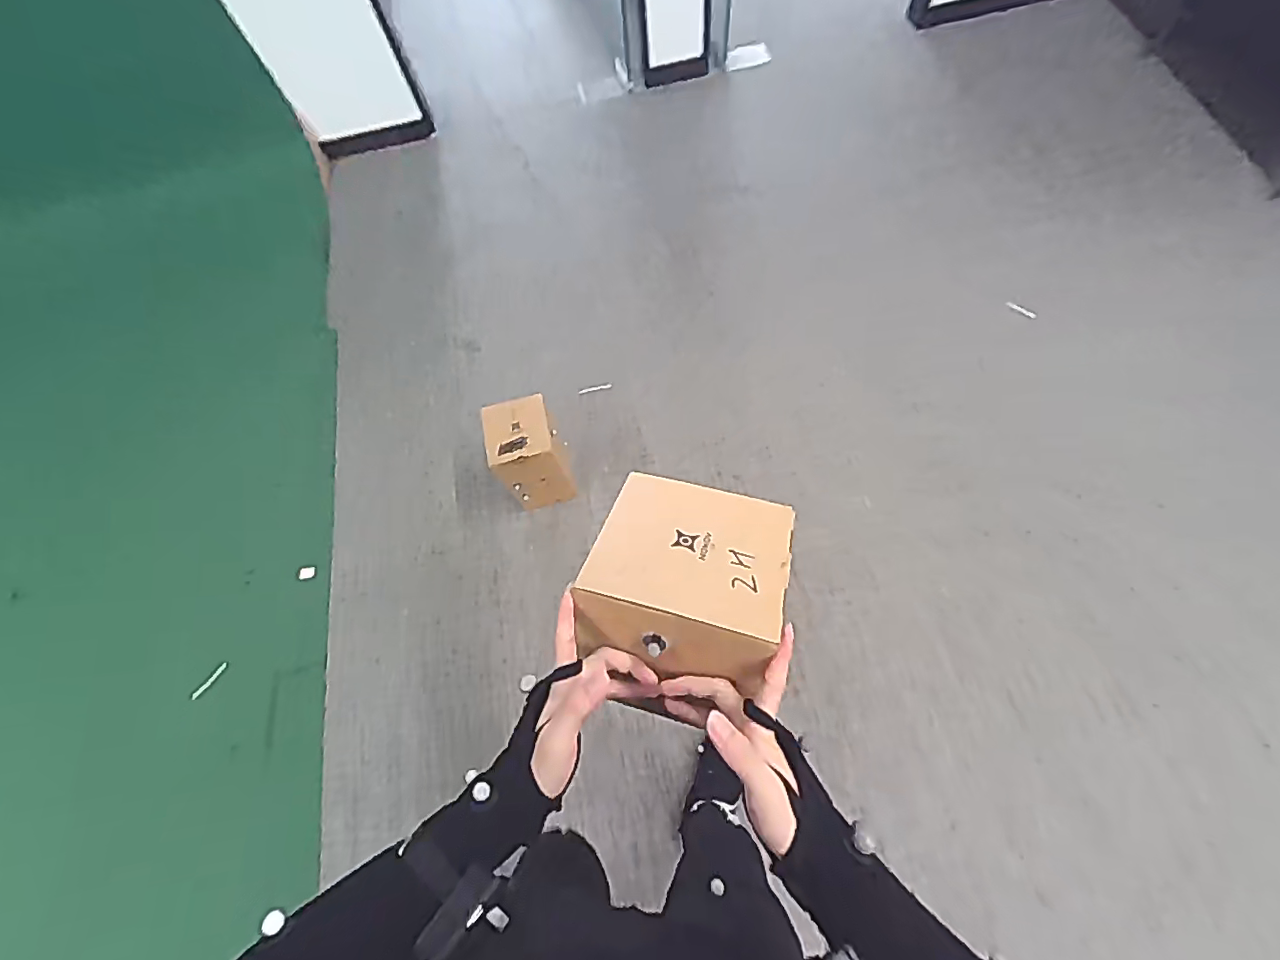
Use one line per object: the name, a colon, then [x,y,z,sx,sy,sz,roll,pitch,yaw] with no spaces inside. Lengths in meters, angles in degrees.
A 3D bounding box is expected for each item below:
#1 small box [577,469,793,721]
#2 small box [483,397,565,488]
small box: [0.046,0.116,0.553,0.179,0.176,0.168,13,40,10]
small box: [-0.307,-0.091,1.450,0.168,0.176,0.179,-14,66,-1]
